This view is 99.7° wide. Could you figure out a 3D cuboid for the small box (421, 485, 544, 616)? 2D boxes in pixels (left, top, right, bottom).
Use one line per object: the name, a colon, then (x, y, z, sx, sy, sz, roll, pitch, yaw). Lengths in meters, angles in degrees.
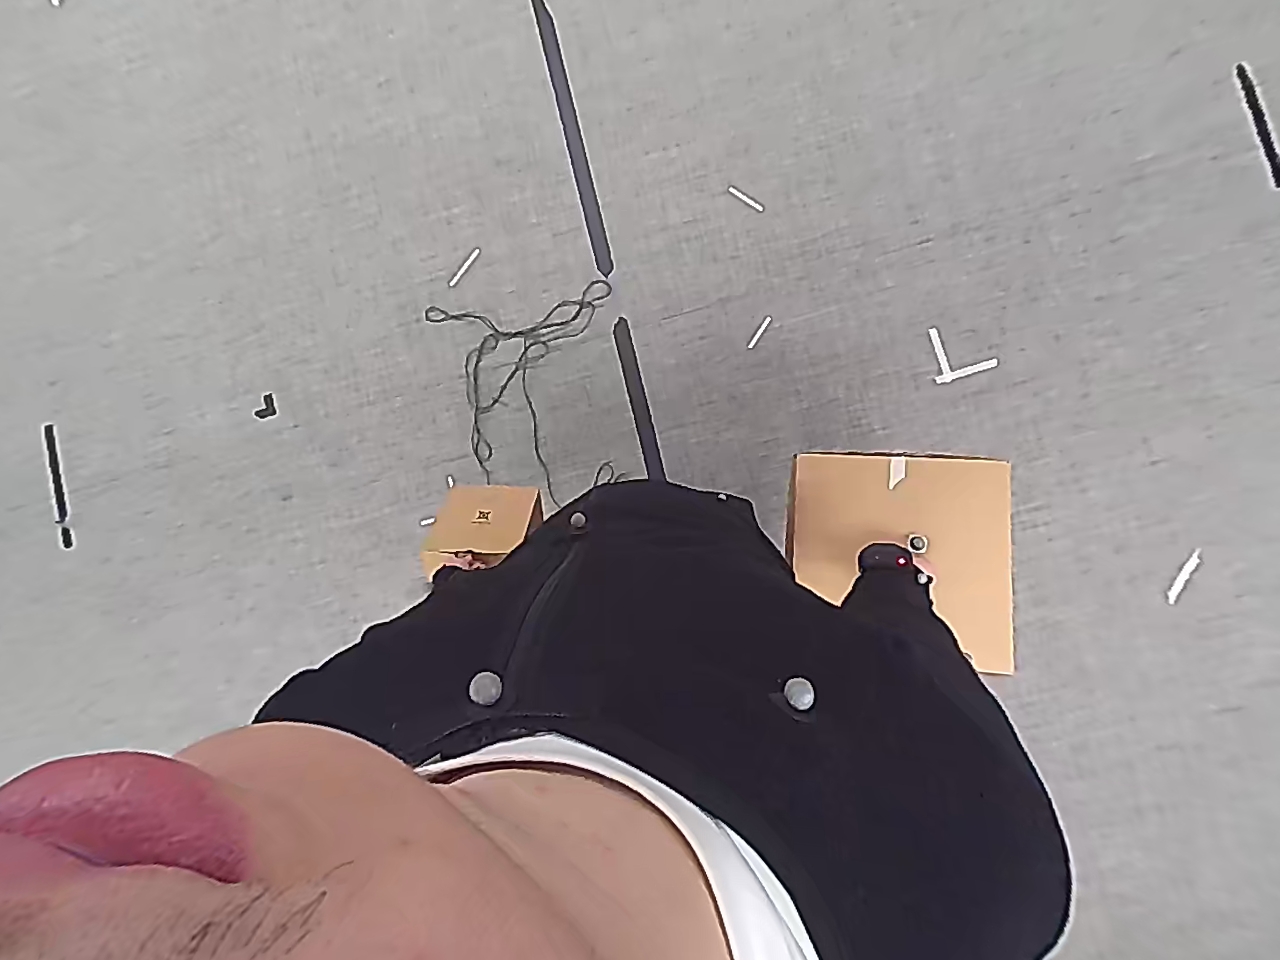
small box: (-0.275, 0.130, 0.992, 0.168, 0.179, 0.176, 3, 128, 1)
